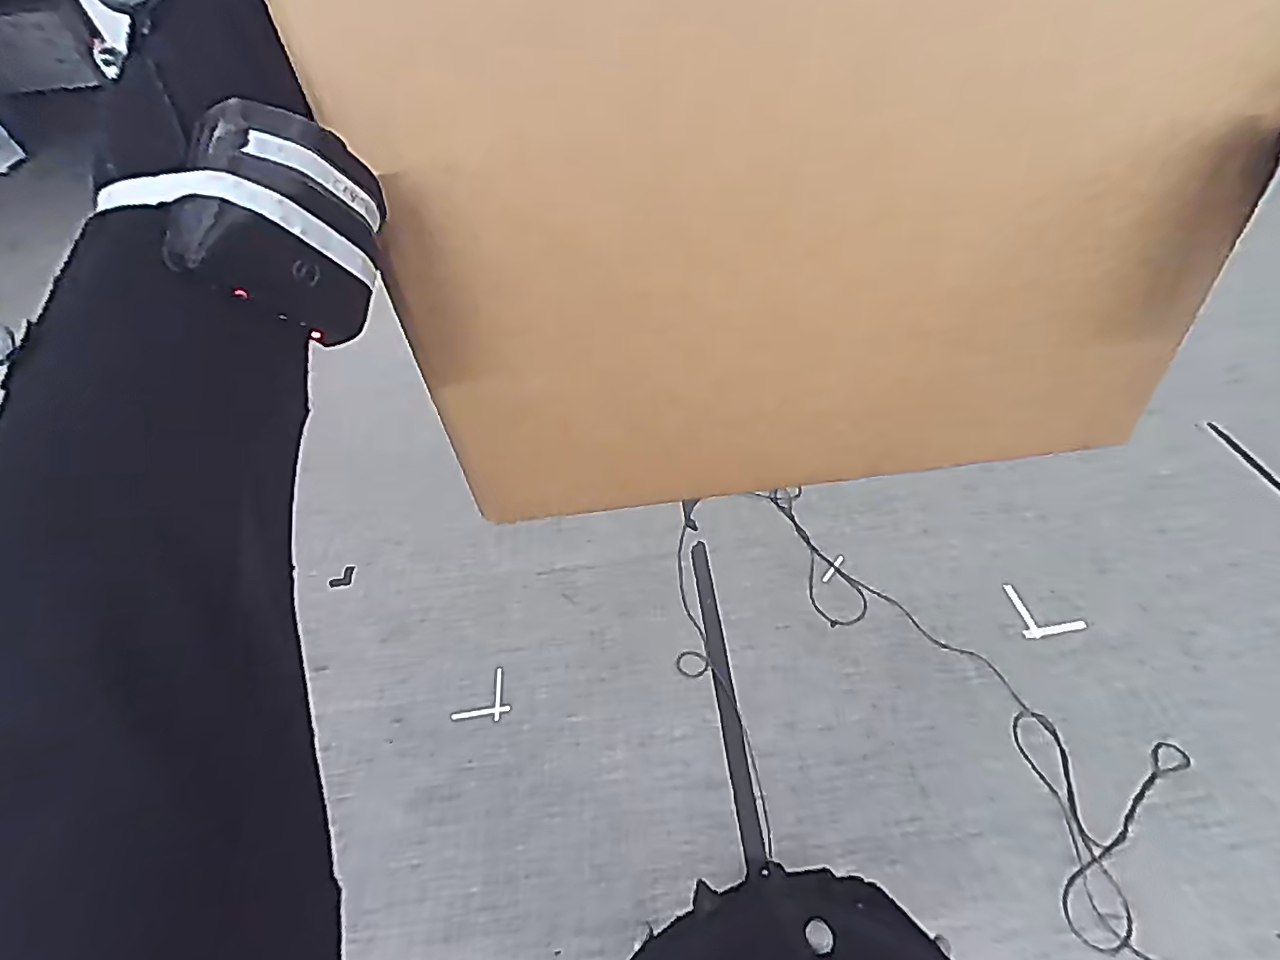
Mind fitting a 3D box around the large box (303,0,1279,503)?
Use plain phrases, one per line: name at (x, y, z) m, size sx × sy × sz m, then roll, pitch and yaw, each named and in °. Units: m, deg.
large box at (0.072, -0.214, 0.366) m, size 0.408 × 0.320 × 0.320 m, roll -7°, pitch 39°, yaw 1°
